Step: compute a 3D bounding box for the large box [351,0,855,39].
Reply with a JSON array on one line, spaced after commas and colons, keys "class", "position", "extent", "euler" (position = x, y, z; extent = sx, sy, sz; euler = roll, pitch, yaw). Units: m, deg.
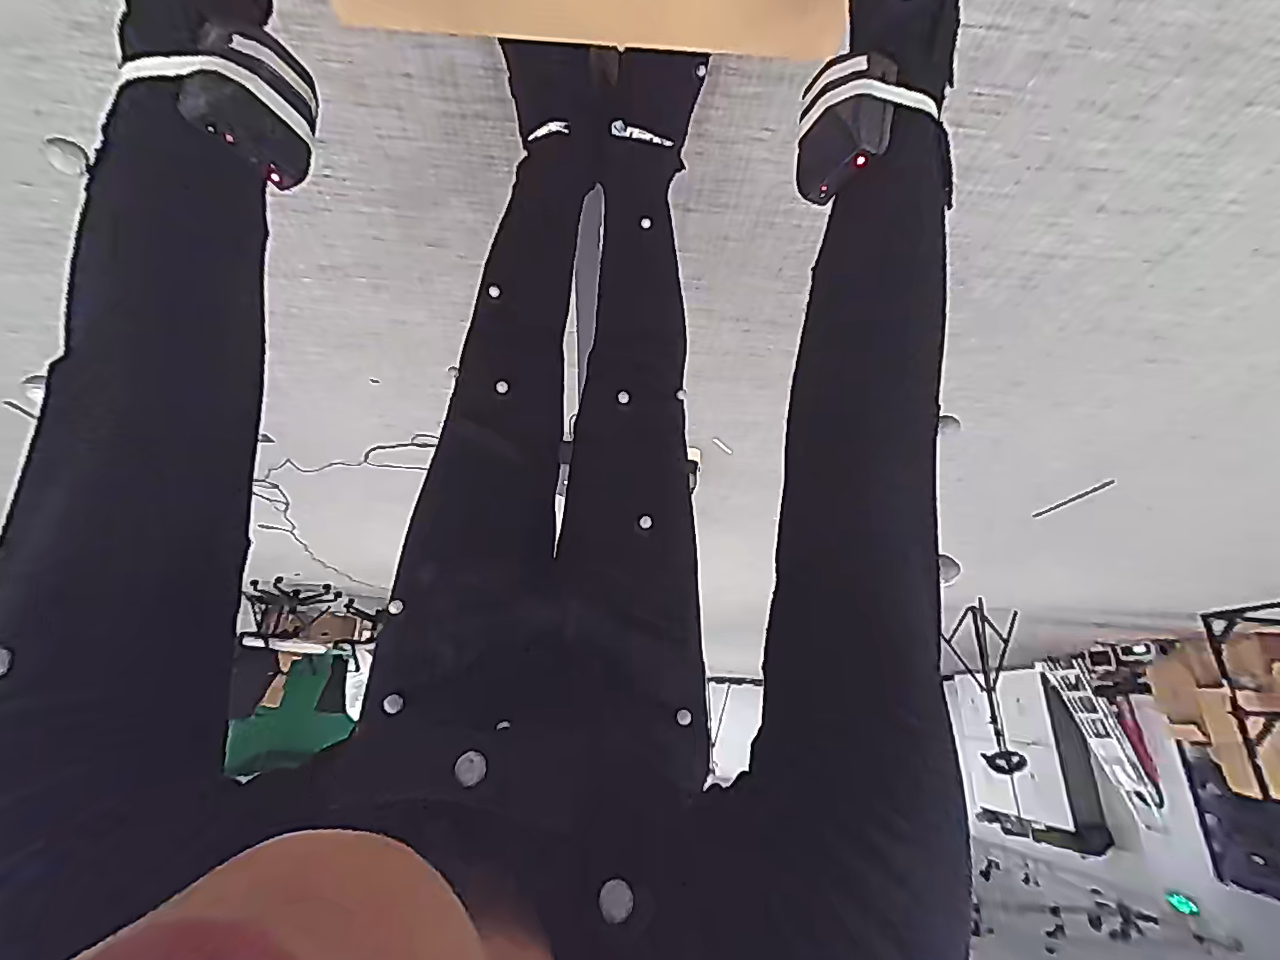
[{"class": "large box", "position": [-0.026, -0.565, 0.361], "extent": [0.408, 0.320, 0.320], "euler": [2, 158, -1]}]
